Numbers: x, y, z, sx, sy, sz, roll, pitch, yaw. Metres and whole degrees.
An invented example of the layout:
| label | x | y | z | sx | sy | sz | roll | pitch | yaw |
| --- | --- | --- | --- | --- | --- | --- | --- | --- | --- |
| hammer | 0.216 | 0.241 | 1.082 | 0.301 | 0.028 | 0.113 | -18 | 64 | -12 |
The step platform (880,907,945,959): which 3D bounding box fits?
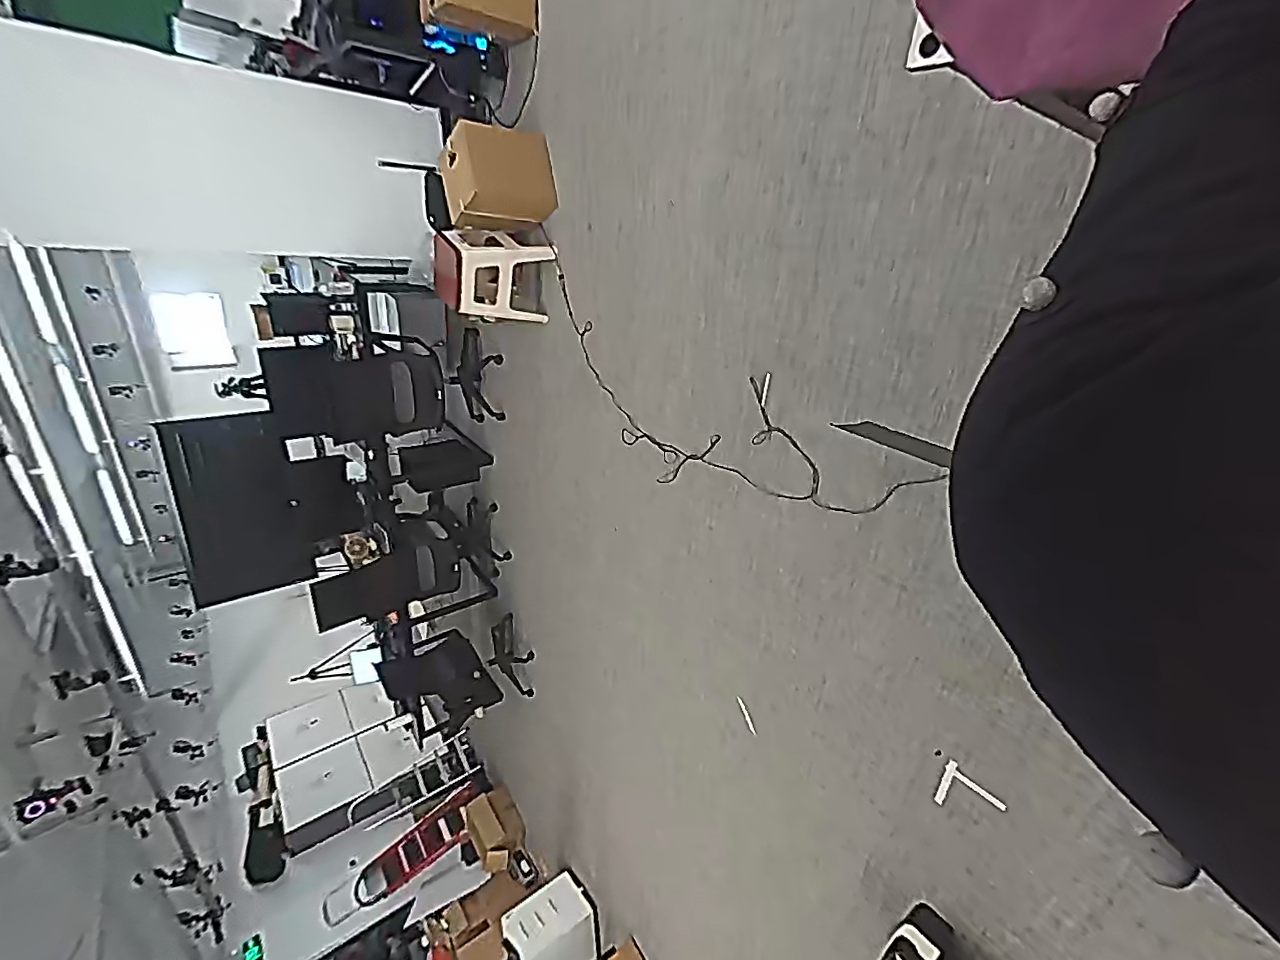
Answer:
| label | x | y | z | sx | sy | sz | roll | pitch | yaw |
| --- | --- | --- | --- | --- | --- | --- | --- | --- | --- |
| step platform | 1.010 | 1.621 | 1.506 | 0.684 | 0.204 | 0.286 | 31 | 126 | 44 |
